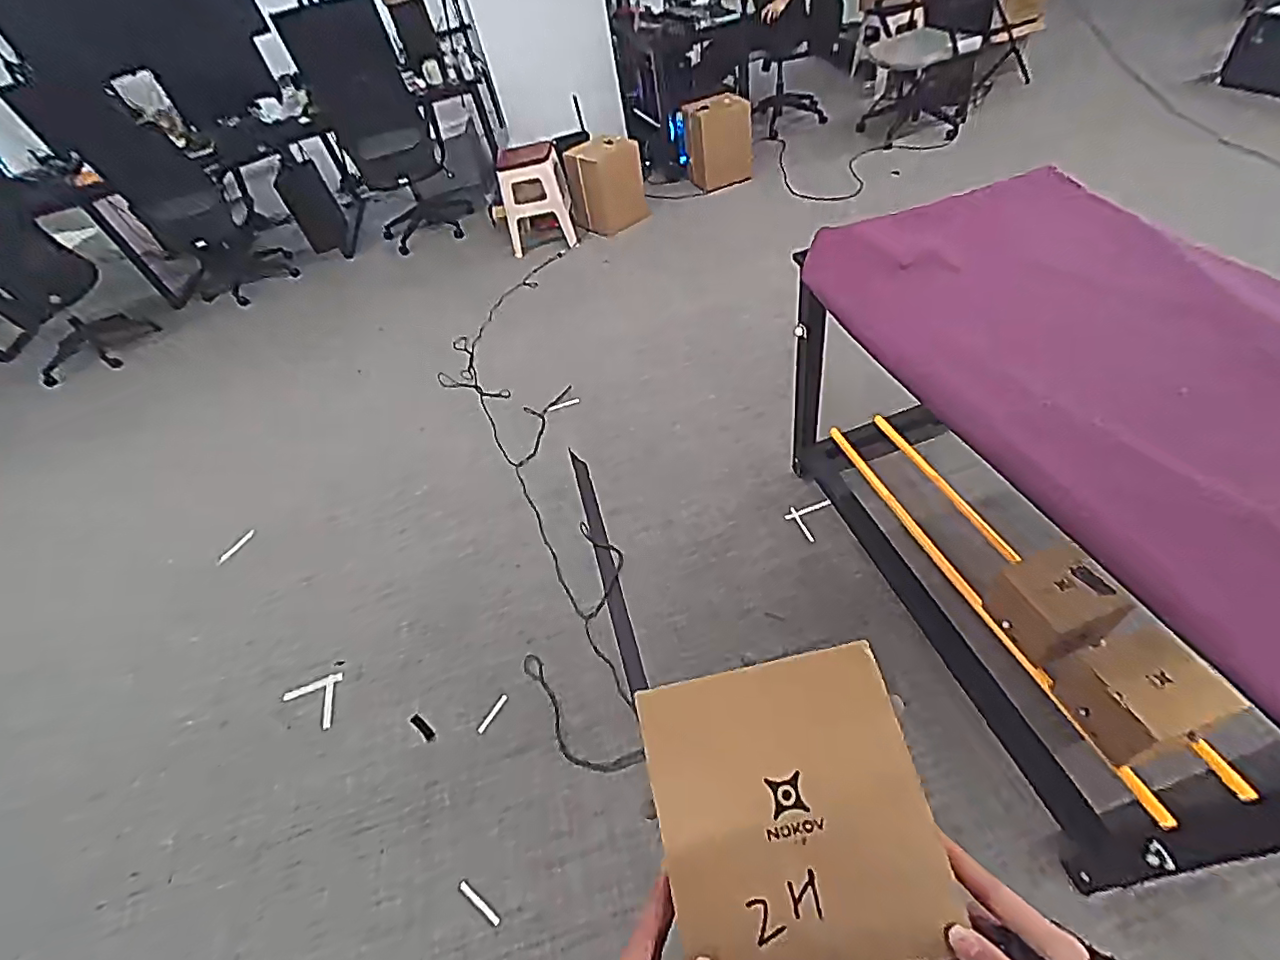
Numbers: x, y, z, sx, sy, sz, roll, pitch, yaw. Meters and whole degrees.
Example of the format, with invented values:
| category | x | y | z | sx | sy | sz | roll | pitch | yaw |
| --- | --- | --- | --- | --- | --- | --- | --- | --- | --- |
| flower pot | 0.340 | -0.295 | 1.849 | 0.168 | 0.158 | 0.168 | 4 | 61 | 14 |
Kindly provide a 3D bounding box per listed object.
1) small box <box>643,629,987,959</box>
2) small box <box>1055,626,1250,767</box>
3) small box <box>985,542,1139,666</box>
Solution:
| category | x | y | z | sx | sy | sz | roll | pitch | yaw |
| --- | --- | --- | --- | --- | --- | --- | --- | --- | --- |
| small box | 0.106 | 0.226 | 0.404 | 0.168 | 0.176 | 0.179 | -14 | 66 | 3 |
| small box | 0.938 | 0.407 | 1.014 | 0.179 | 0.176 | 0.168 | -20 | 46 | -3 |
| small box | 0.884 | 0.268 | 1.156 | 0.179 | 0.176 | 0.168 | -21 | 46 | -2 |
